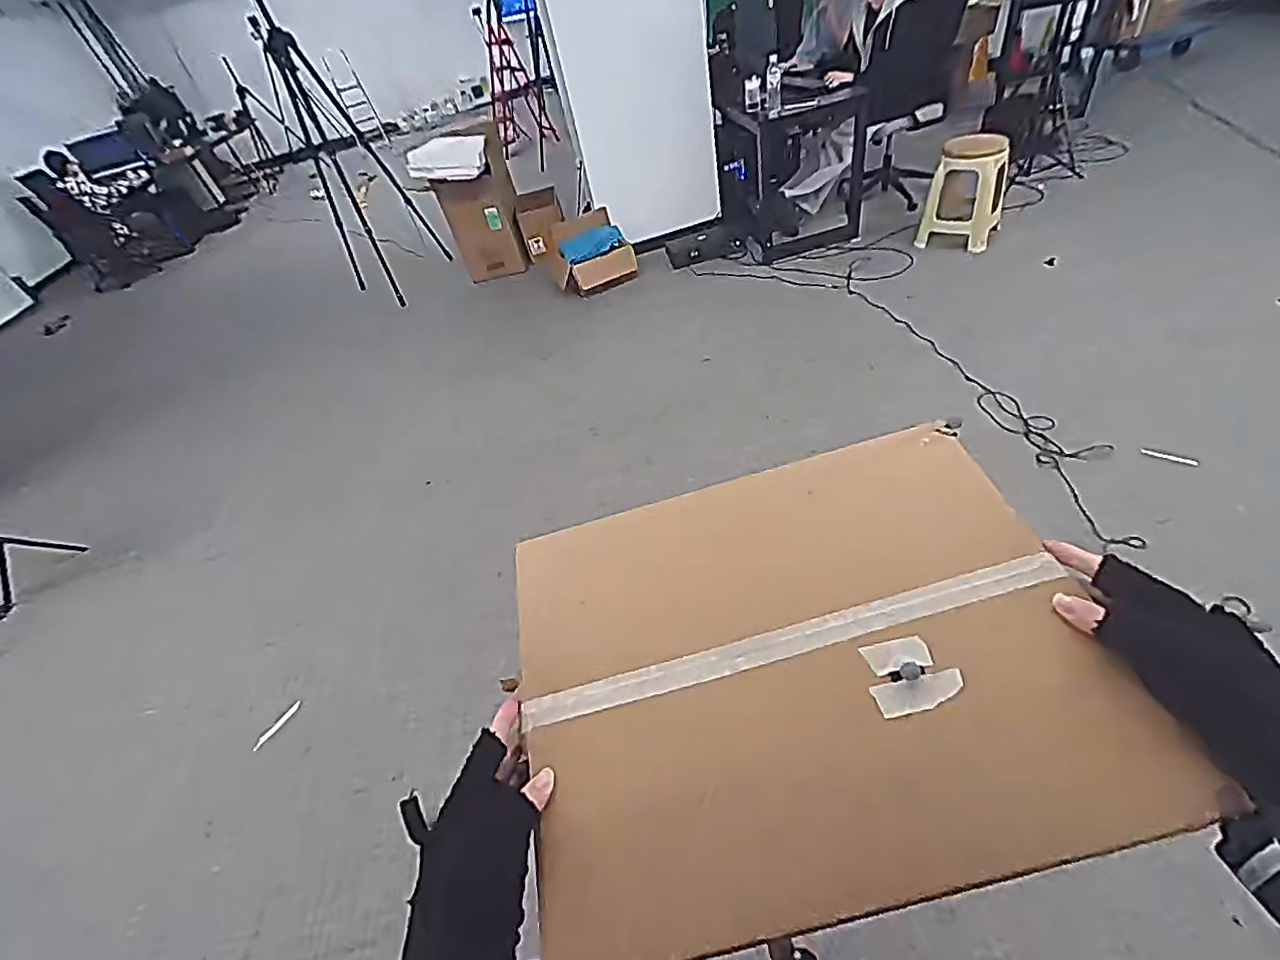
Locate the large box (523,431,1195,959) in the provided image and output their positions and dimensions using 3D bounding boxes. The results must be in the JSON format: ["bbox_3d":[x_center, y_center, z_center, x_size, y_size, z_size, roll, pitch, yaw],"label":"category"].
[{"bbox_3d":[0.137,0.213,0.529,0.408,0.320,0.320,-16,52,1],"label":"large box"}]
